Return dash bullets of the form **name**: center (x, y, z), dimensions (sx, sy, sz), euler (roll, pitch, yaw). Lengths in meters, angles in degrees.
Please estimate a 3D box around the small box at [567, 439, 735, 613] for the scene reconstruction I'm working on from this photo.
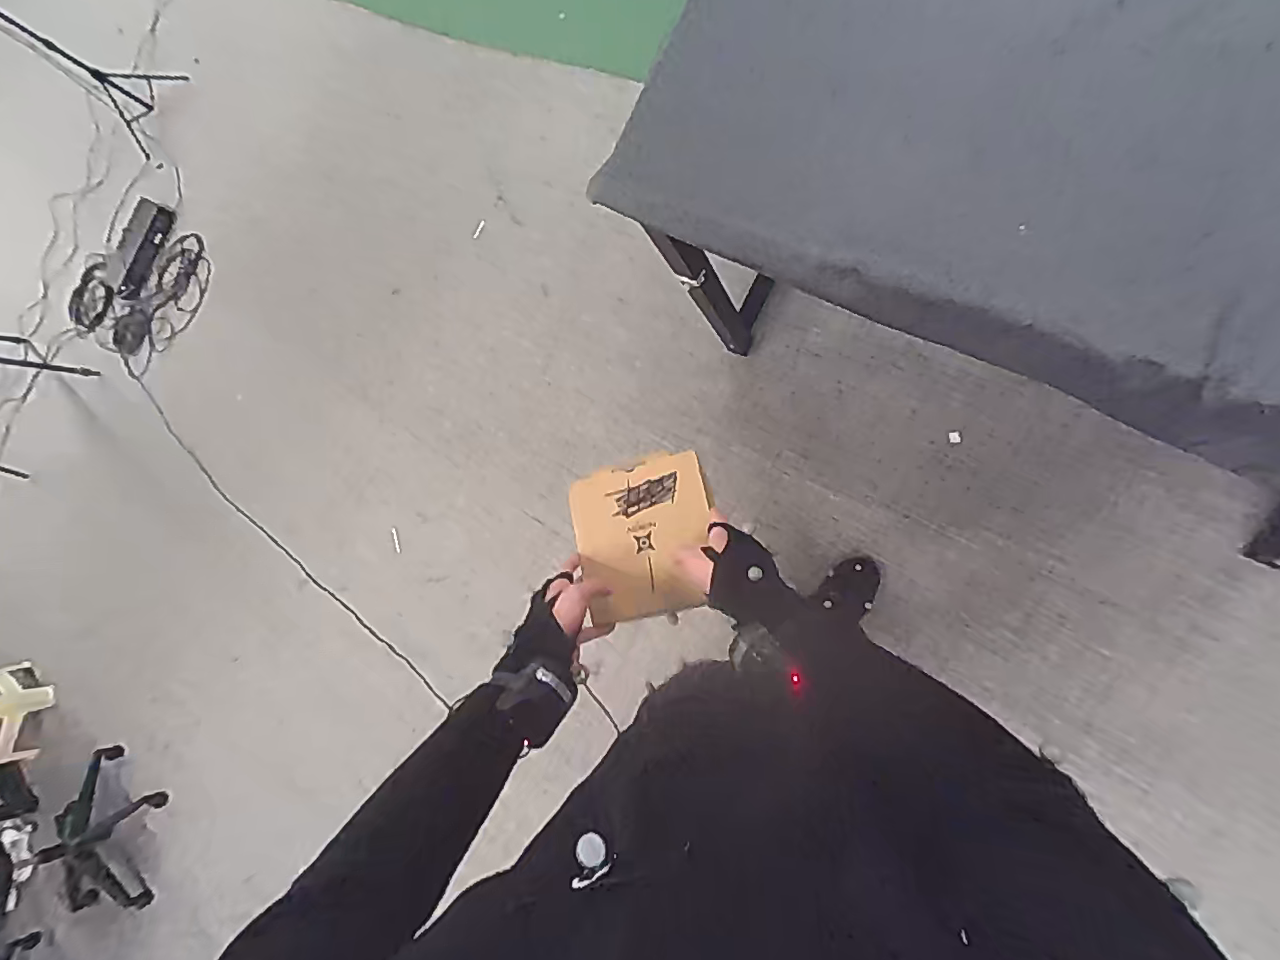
- **small box**: center (0.021, 0.069, 0.697), dimensions (0.168, 0.176, 0.179), euler (-15, 75, 10)
